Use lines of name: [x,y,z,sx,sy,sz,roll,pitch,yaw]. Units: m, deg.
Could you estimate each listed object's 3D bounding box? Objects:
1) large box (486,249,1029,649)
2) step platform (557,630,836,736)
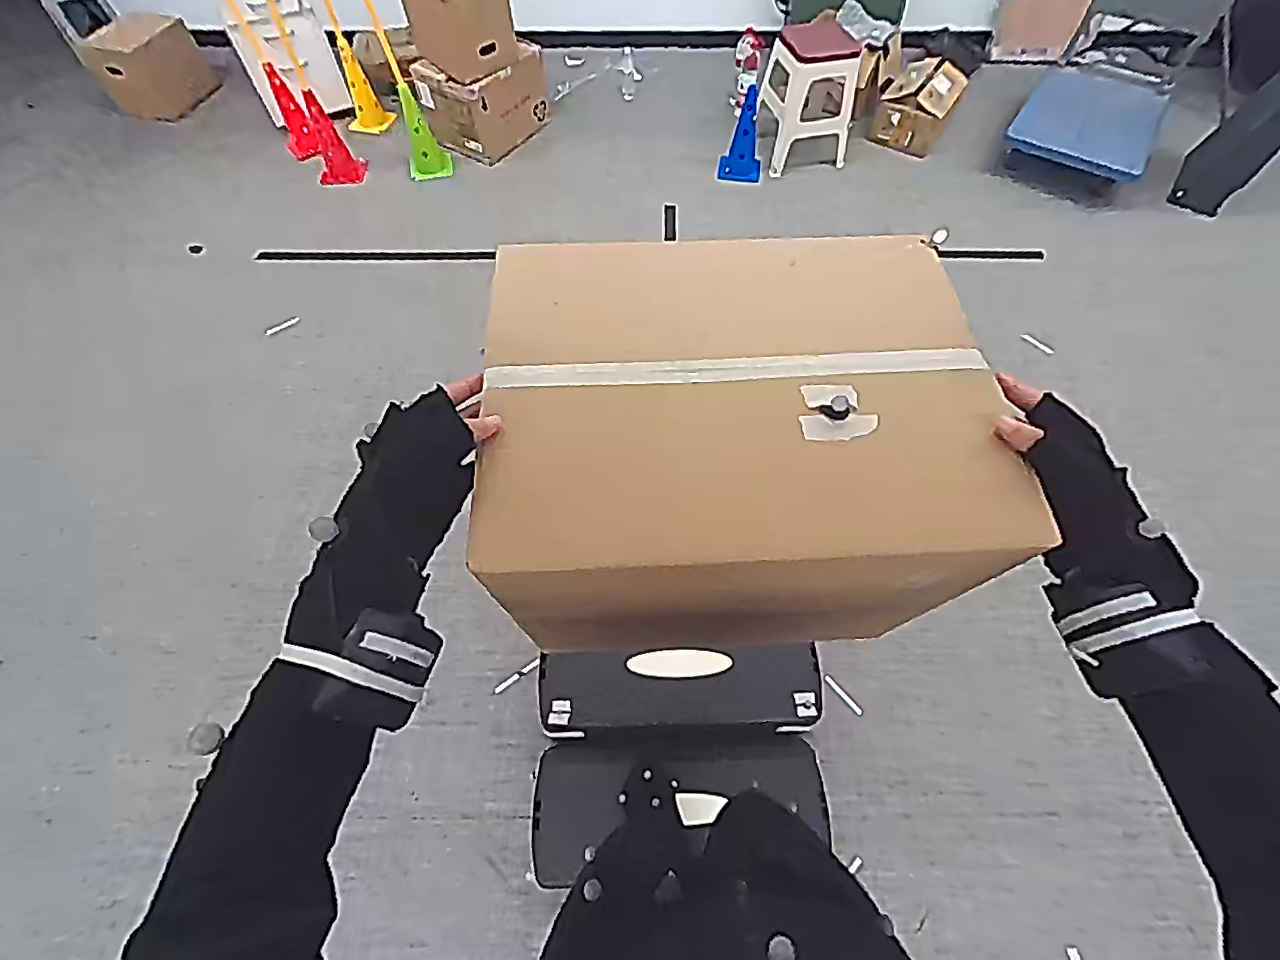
large box: [0.075,-0.014,0.584,0.408,0.320,0.320,-2,63,-2]
step platform: [0.133,0.476,1.372,0.684,0.204,0.286,-1,60,-2]
